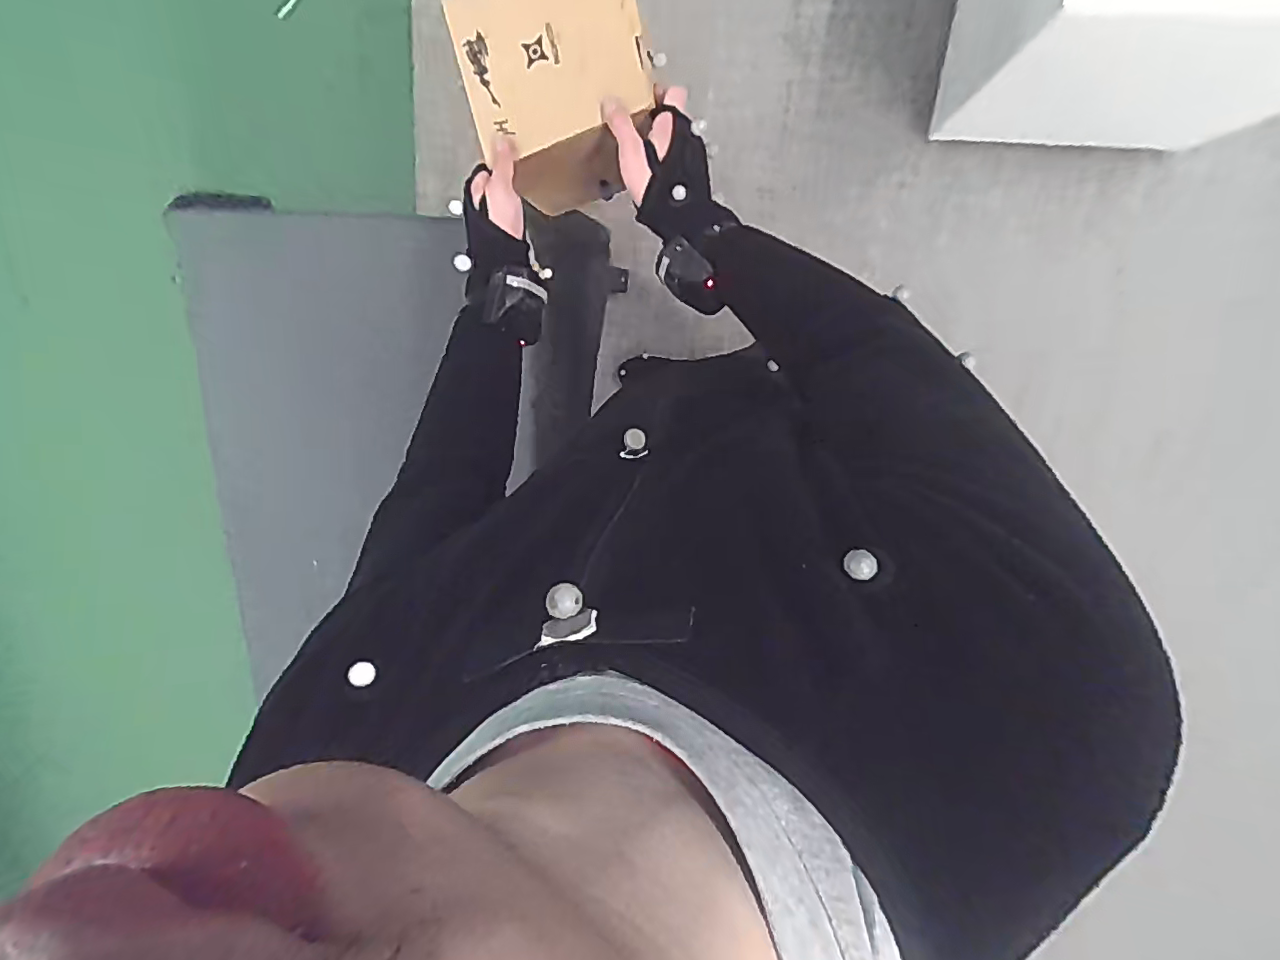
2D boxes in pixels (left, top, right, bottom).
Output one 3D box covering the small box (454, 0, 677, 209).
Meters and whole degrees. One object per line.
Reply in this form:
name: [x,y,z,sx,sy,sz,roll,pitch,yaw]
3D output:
small box: [-0.062,-0.414,0.568,0.179,0.176,0.168,-12,97,12]
